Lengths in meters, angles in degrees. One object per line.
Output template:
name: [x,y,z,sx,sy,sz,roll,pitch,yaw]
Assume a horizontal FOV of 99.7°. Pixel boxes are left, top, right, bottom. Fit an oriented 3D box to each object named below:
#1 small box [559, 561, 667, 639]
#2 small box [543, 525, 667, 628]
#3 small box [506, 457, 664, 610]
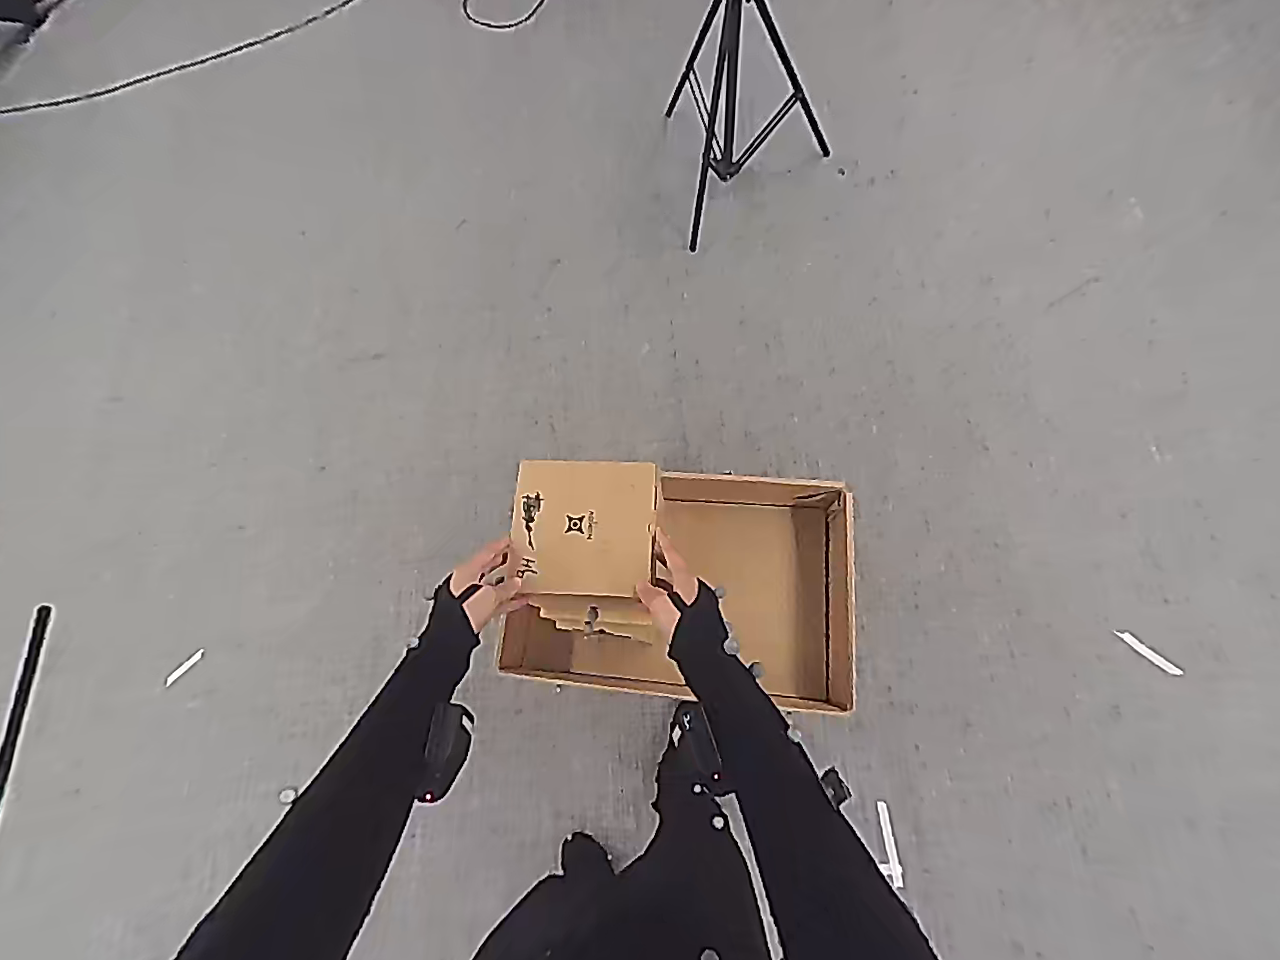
small box: [-0.041,0.201,1.022,0.168,0.176,0.179,6,72,8]
small box: [-0.045,0.140,0.871,0.168,0.176,0.179,3,71,6]
small box: [-0.059,0.079,0.720,0.179,0.176,0.168,2,71,6]
